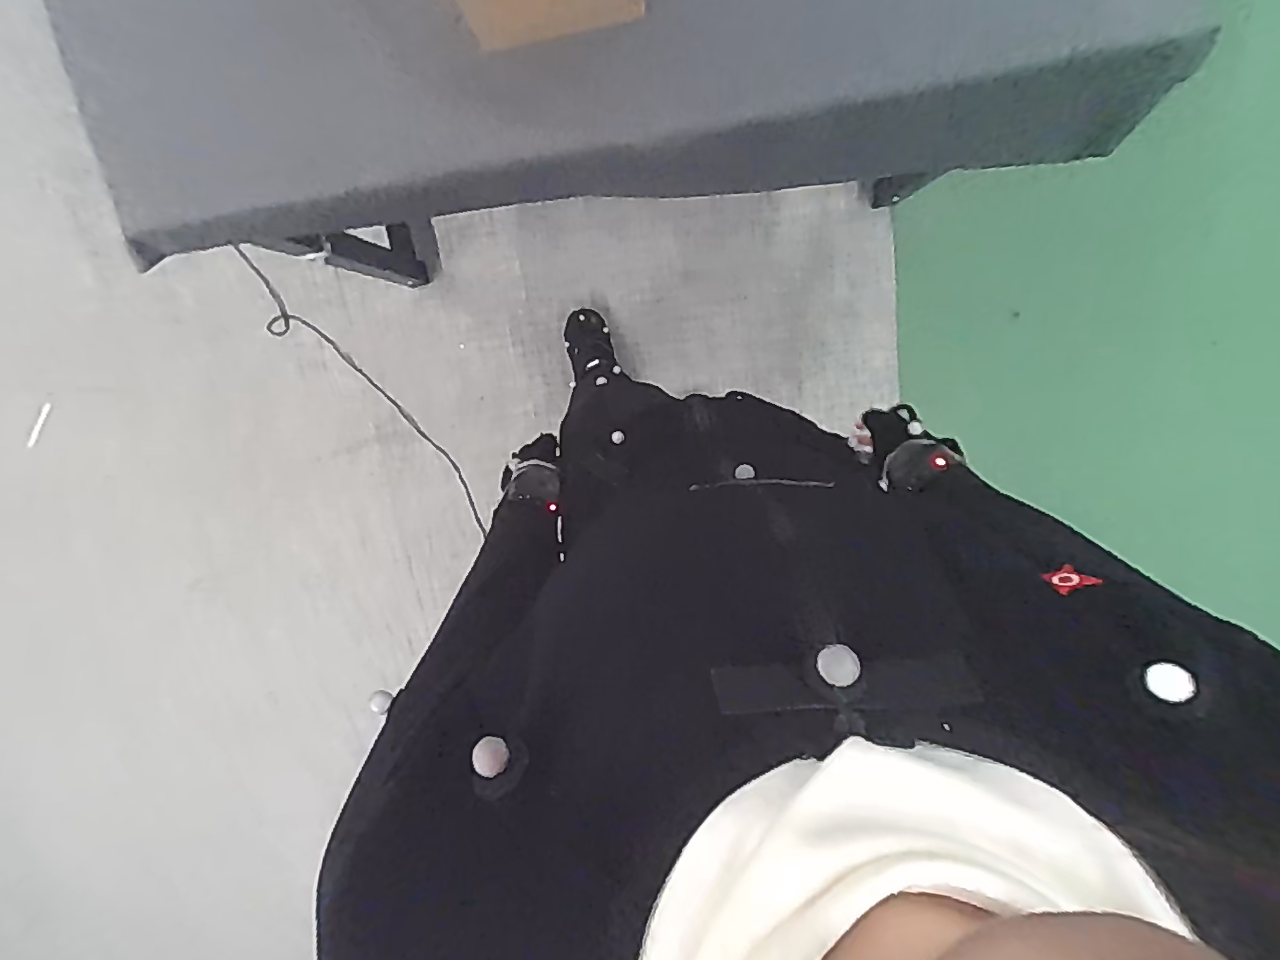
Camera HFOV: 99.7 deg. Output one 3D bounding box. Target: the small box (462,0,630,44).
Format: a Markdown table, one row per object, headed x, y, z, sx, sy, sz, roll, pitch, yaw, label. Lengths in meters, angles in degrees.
| x | y | z | sx | sy | sz | roll | pitch | yaw | label |
| --- | --- | --- | --- | --- | --- | --- | --- | --- | --- |
| -0.096 | -0.537 | 0.479 | 0.179 | 0.176 | 0.168 | -9 | 102 | 5 | small box |
